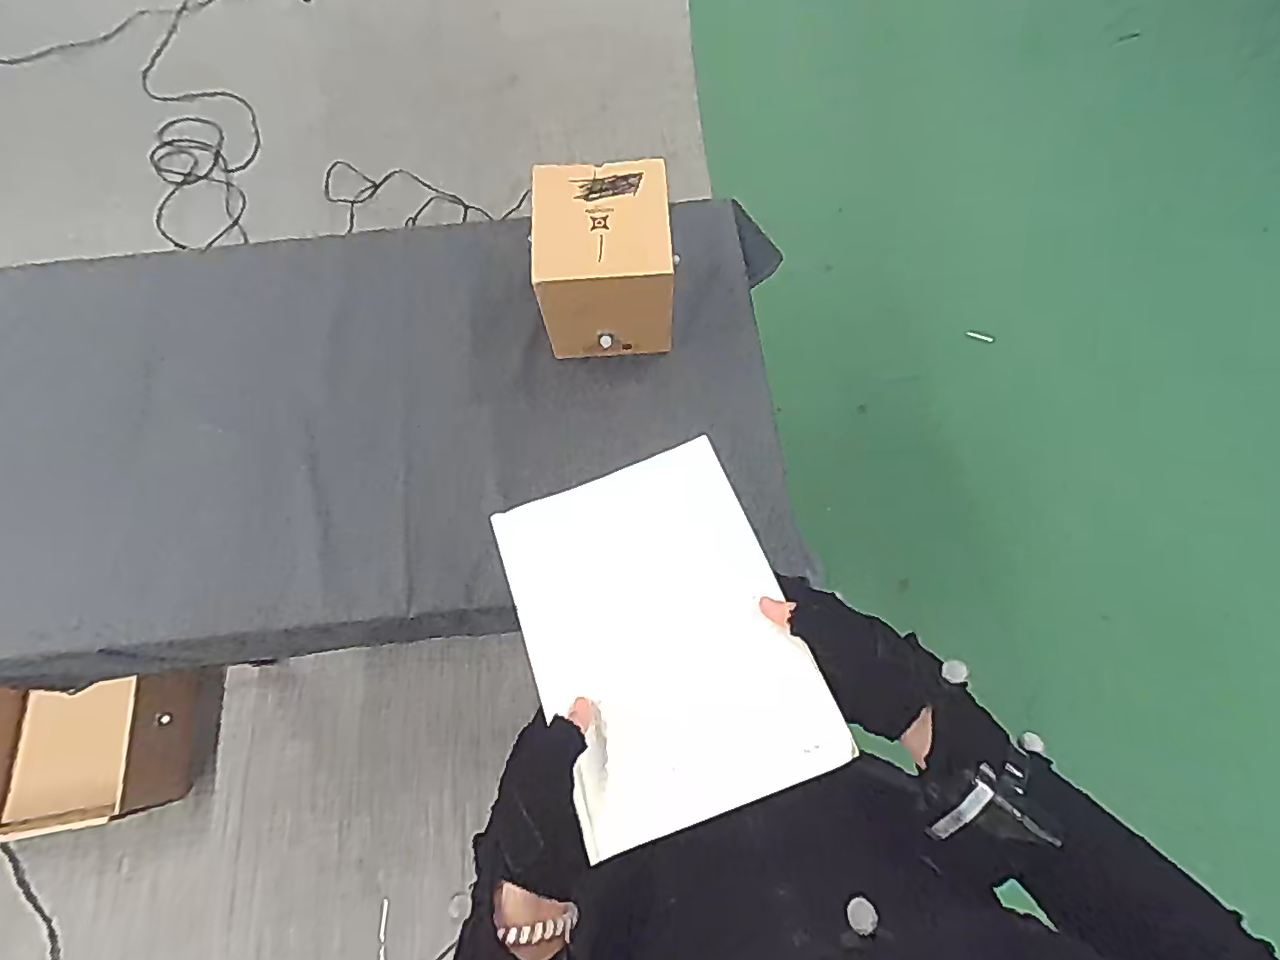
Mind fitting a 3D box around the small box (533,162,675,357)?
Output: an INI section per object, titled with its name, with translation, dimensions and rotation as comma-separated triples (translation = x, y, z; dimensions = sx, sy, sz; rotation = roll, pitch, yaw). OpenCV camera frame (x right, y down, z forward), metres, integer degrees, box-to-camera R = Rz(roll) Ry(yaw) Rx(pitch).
[small box]
translation = -0.042, -0.285, 0.721
dimensions = 0.168, 0.176, 0.179
rotation = -3, 72, 1
